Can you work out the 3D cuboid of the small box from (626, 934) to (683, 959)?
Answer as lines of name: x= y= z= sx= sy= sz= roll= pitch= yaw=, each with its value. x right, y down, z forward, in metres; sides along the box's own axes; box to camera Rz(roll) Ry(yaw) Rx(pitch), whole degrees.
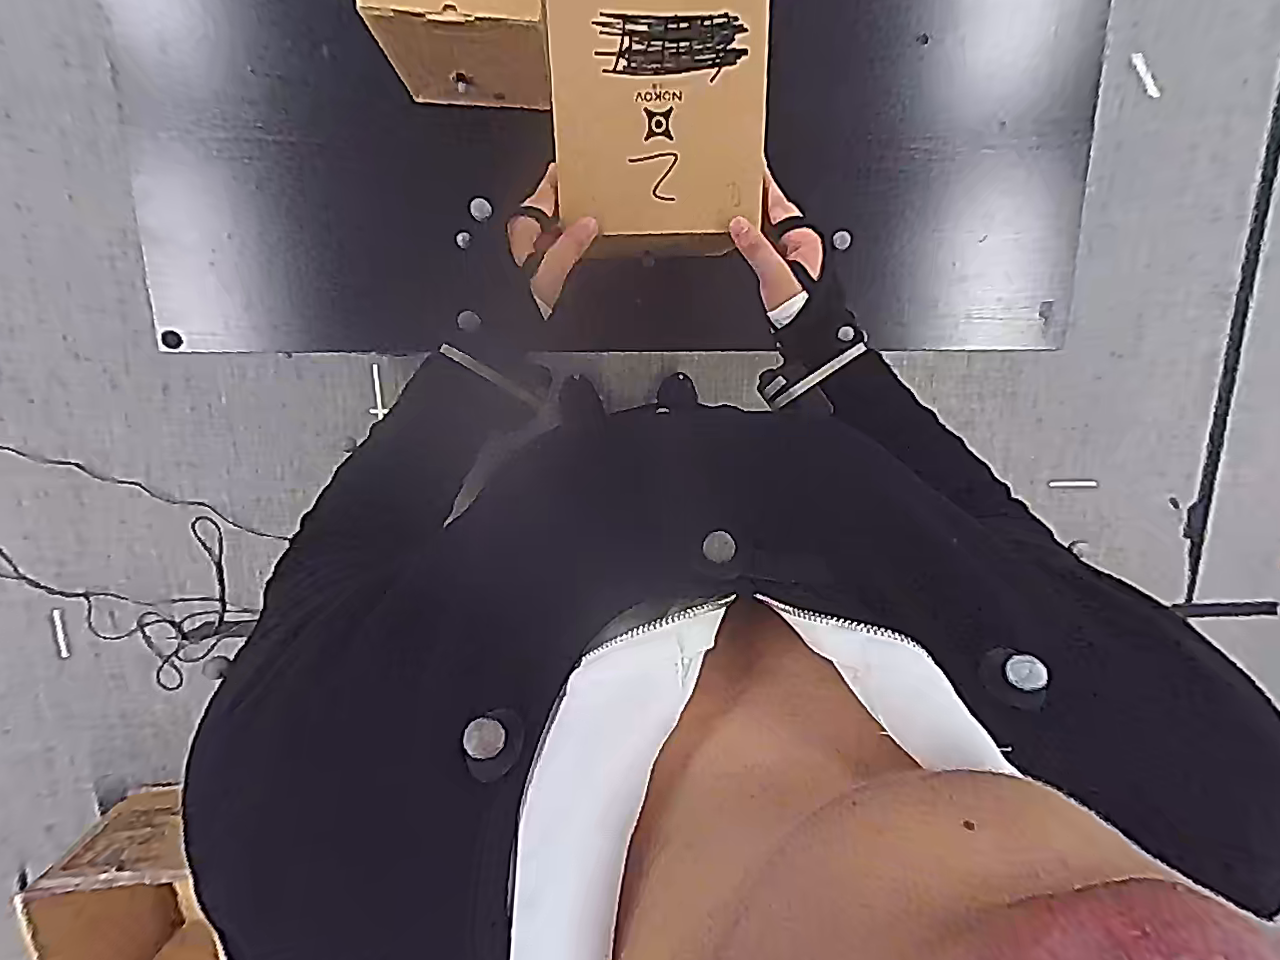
small box: x=0.048 y=1.562 z=1.685 sx=0.179 sy=0.176 sz=0.168 roll=1 pitch=99 yaw=-3

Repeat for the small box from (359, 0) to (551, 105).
small box: x=-0.182 y=-0.527 z=0.556 sx=0.168 sy=0.176 sz=0.179 roll=0 pitch=102 yaw=-5
